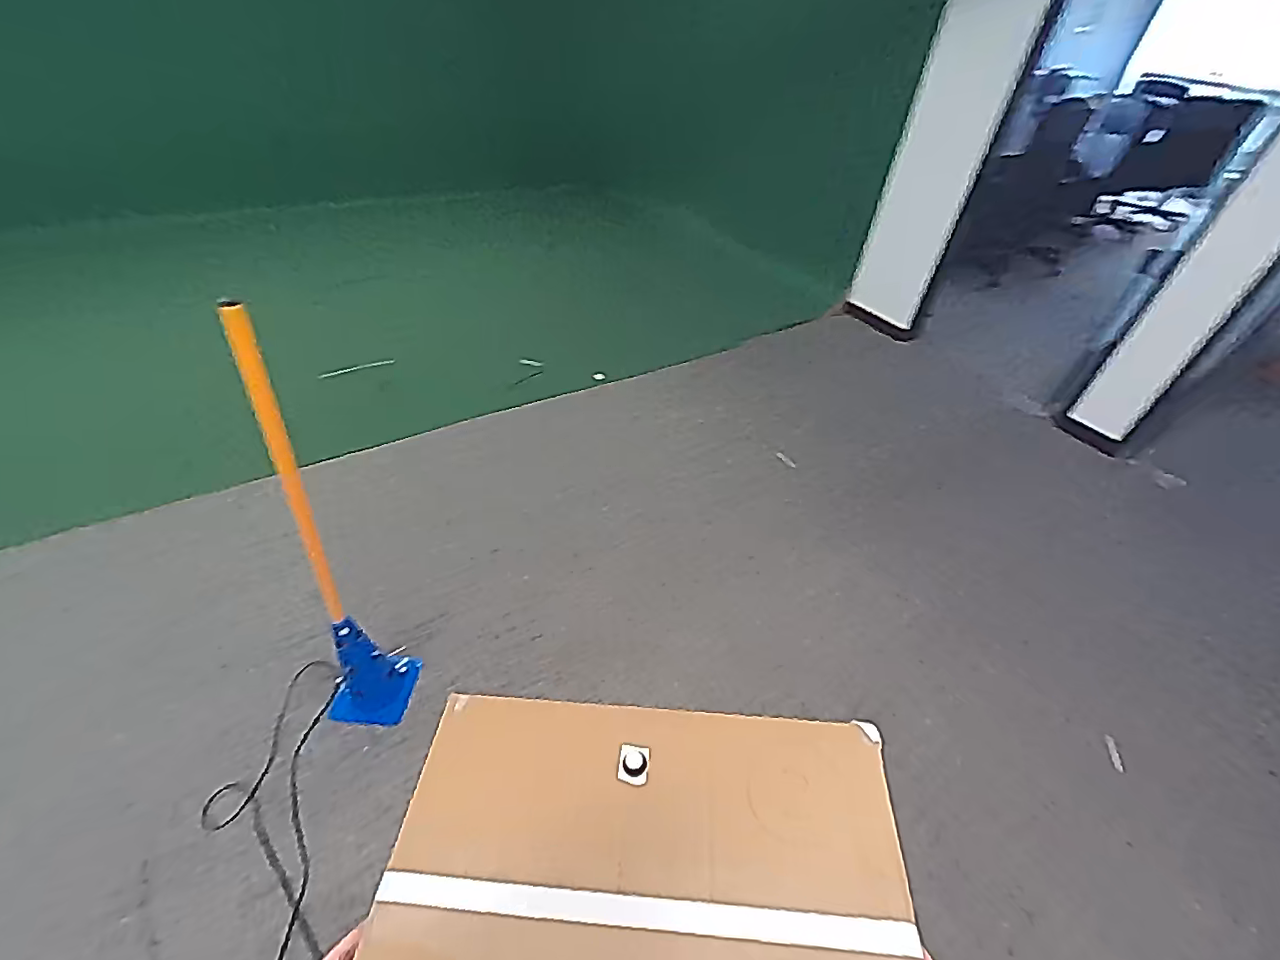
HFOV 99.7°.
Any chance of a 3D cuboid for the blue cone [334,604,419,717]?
[{"bbox_3d":[-0.720,0.445,1.399,0.192,0.380,0.193,4,42,-2],"label":"blue cone"}]
